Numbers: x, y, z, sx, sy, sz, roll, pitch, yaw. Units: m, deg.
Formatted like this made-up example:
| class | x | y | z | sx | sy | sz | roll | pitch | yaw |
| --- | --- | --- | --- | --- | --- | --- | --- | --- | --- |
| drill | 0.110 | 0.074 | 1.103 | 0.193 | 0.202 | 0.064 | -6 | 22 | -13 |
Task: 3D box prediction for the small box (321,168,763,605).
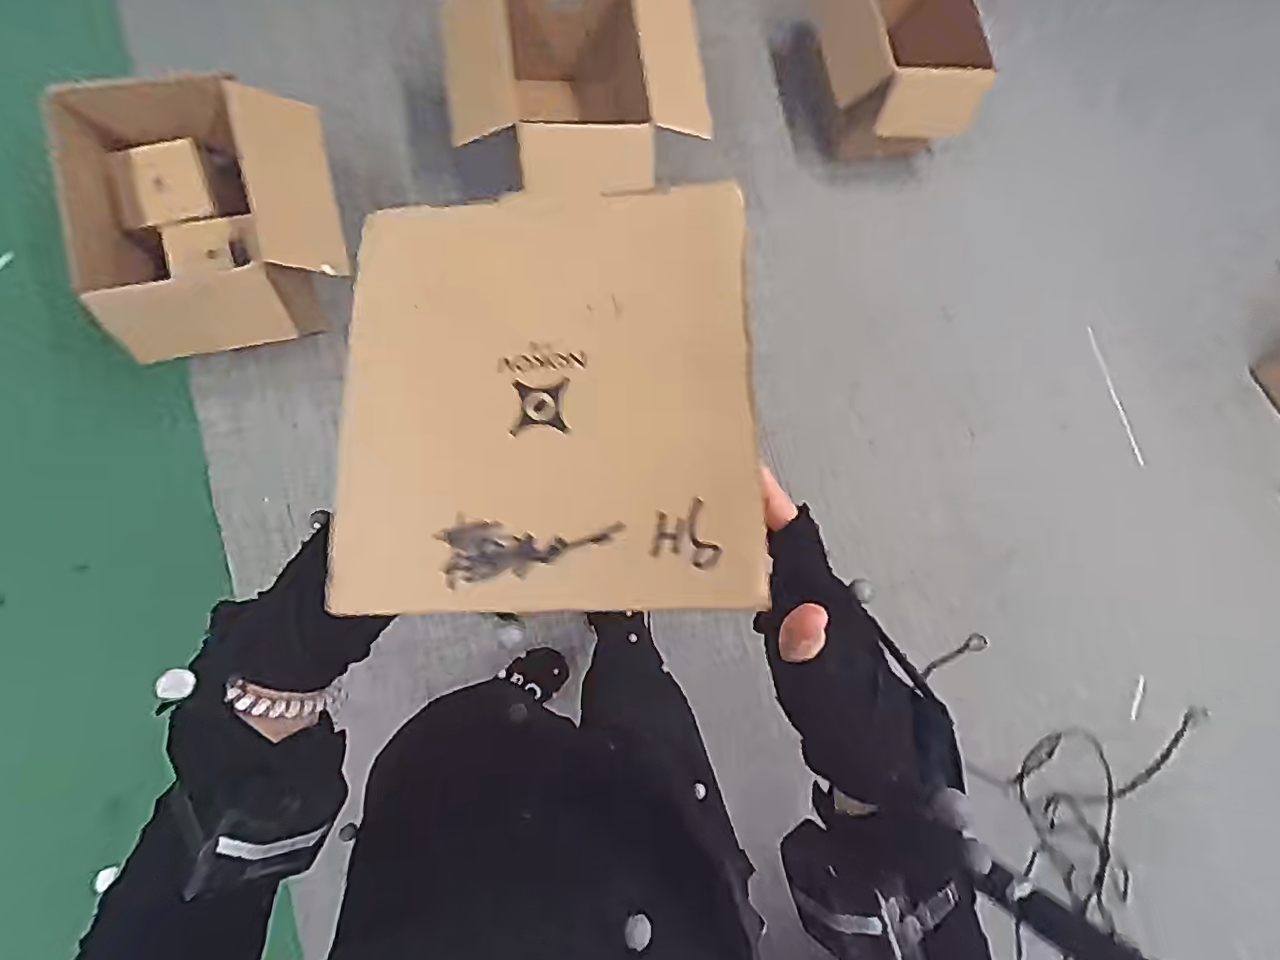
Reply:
| class | x | y | z | sx | sy | sz | roll | pitch | yaw |
| --- | --- | --- | --- | --- | --- | --- | --- | --- | --- |
| small box | -0.029 | -0.025 | 0.291 | 0.168 | 0.176 | 0.179 | -2 | 76 | 7 |
